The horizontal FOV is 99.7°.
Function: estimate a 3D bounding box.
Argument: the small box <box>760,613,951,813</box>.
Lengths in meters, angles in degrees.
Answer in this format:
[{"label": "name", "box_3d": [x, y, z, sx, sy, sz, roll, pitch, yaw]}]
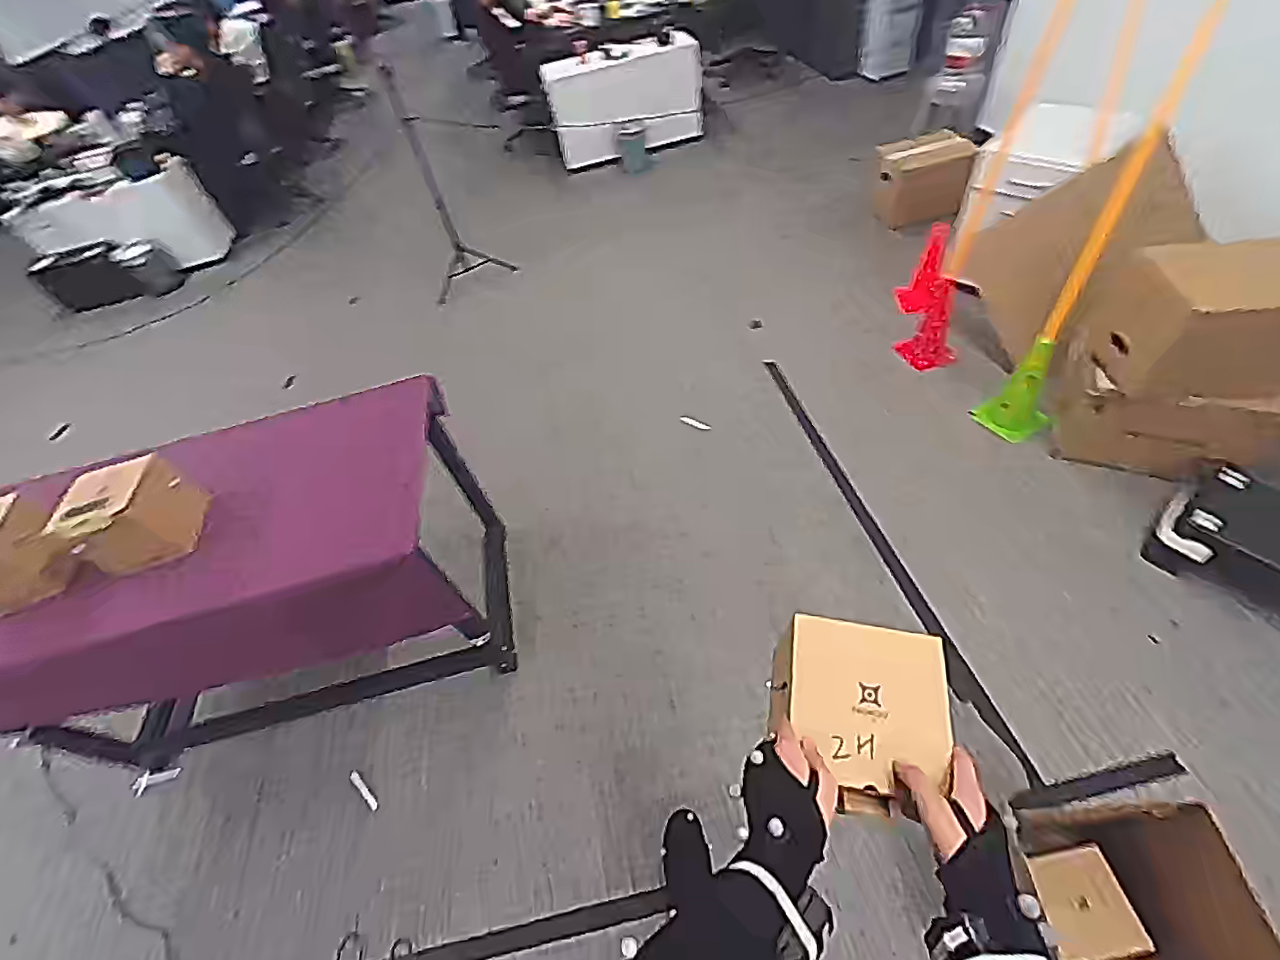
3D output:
[{"label": "small box", "box_3d": [0.240, 0.280, 0.643, 0.168, 0.176, 0.179, 7, 59, 8]}]

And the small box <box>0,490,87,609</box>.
[{"label": "small box", "box_3d": [-1.387, 0.160, 1.184, 0.168, 0.176, 0.179, -22, 50, -7]}]
